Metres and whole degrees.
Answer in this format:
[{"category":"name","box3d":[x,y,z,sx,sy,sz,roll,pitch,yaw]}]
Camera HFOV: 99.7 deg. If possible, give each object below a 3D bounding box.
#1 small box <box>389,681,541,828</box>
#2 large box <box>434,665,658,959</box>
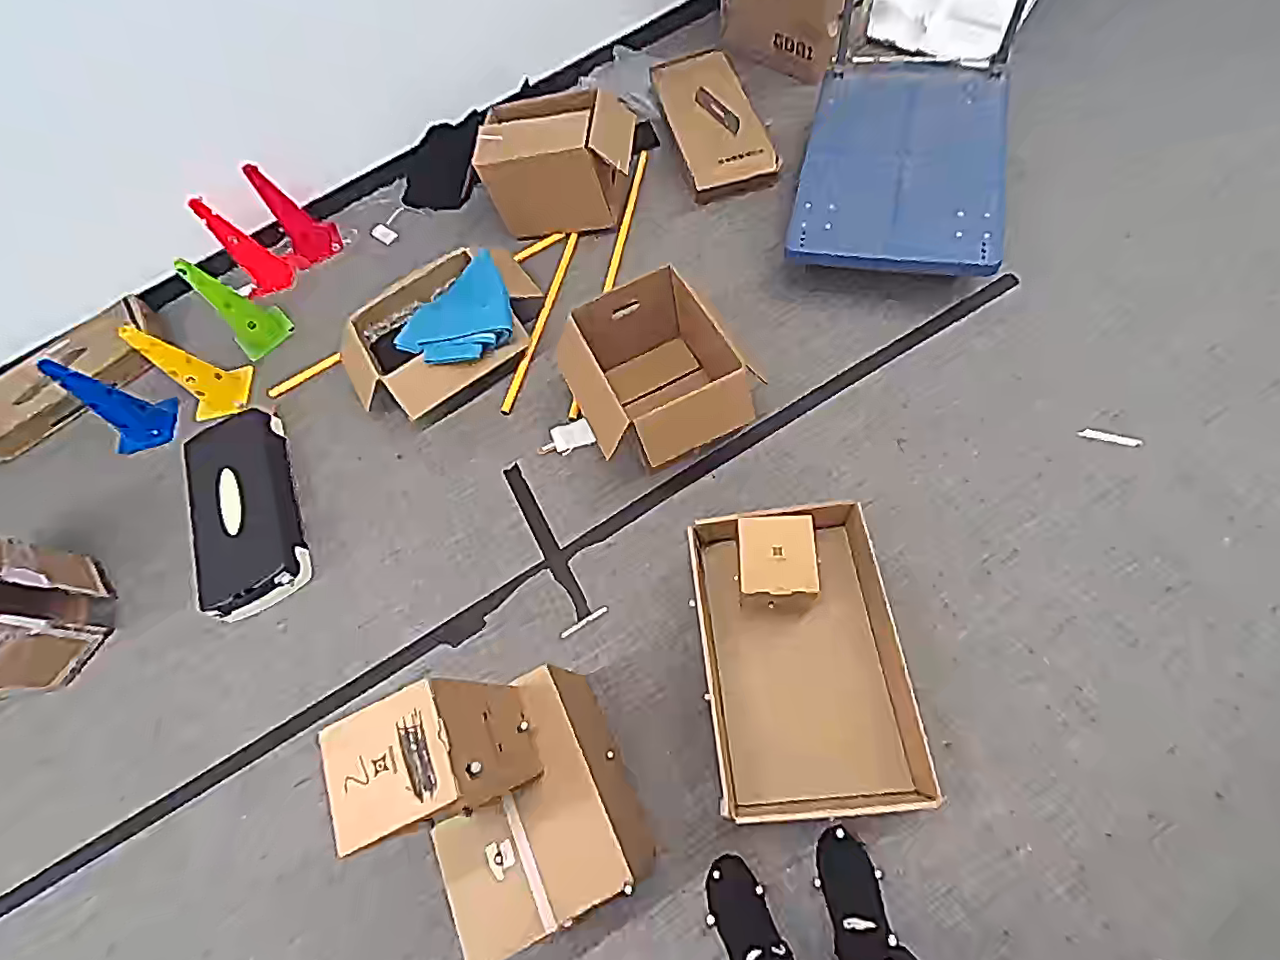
[{"category":"small box","box3d":[-0.299,0.471,0.945,0.179,0.176,0.168,-26,66,-2]},{"category":"large box","box3d":[-0.203,0.651,1.121,0.320,0.320,0.408,-30,65,-2]}]
